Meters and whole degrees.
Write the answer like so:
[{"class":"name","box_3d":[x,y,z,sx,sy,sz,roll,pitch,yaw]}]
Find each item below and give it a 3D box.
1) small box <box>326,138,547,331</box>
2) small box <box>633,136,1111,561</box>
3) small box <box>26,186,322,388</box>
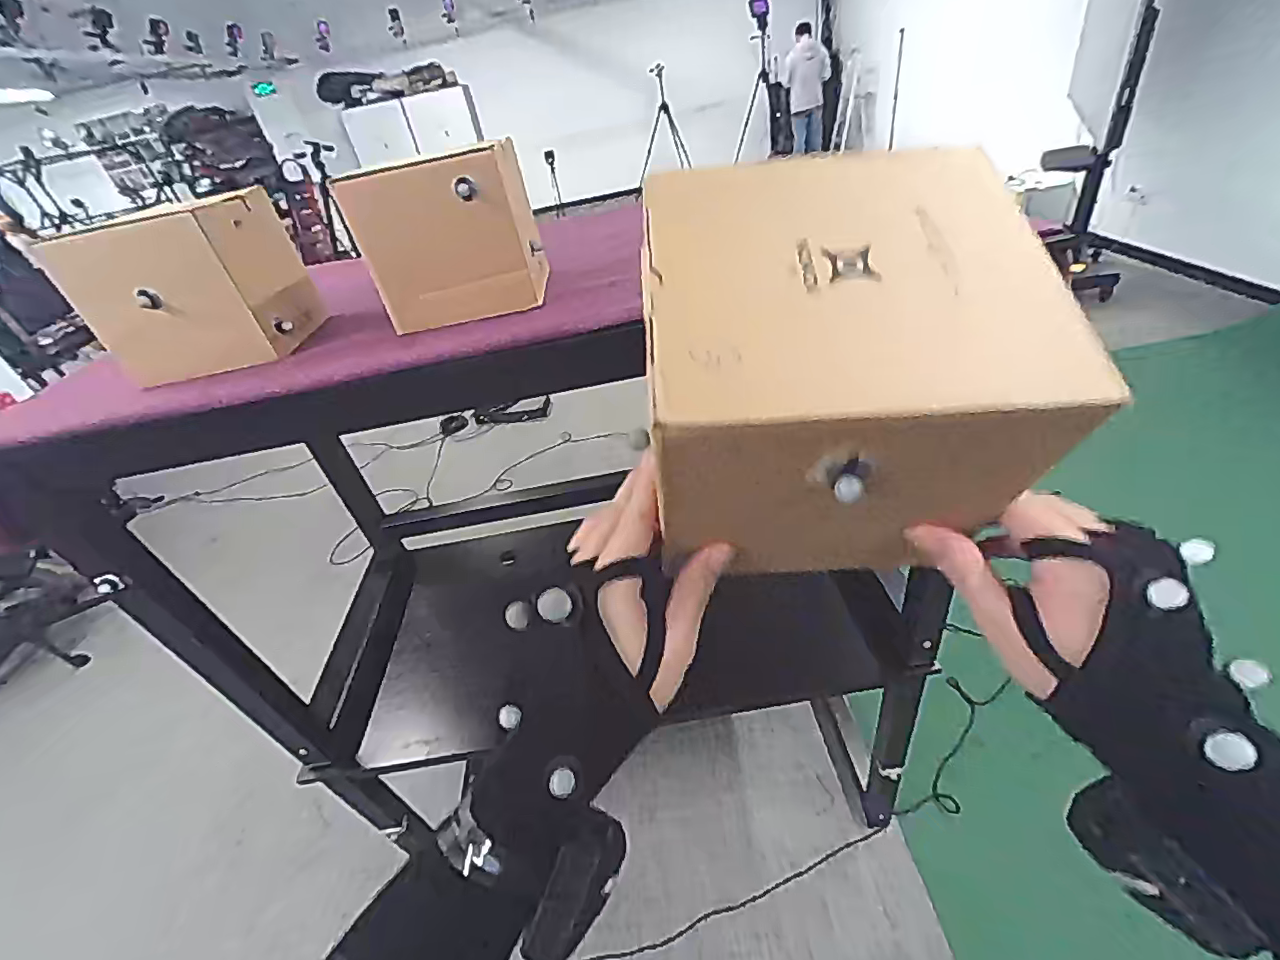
[{"class":"small box","box_3d":[-0.224,-0.293,0.648,0.179,0.176,0.168,-11,36,2]},{"class":"small box","box_3d":[0.091,-0.059,0.308,0.179,0.176,0.168,-2,61,3]},{"class":"small box","box_3d":[-0.527,-0.232,0.651,0.179,0.176,0.168,-13,36,1]}]
